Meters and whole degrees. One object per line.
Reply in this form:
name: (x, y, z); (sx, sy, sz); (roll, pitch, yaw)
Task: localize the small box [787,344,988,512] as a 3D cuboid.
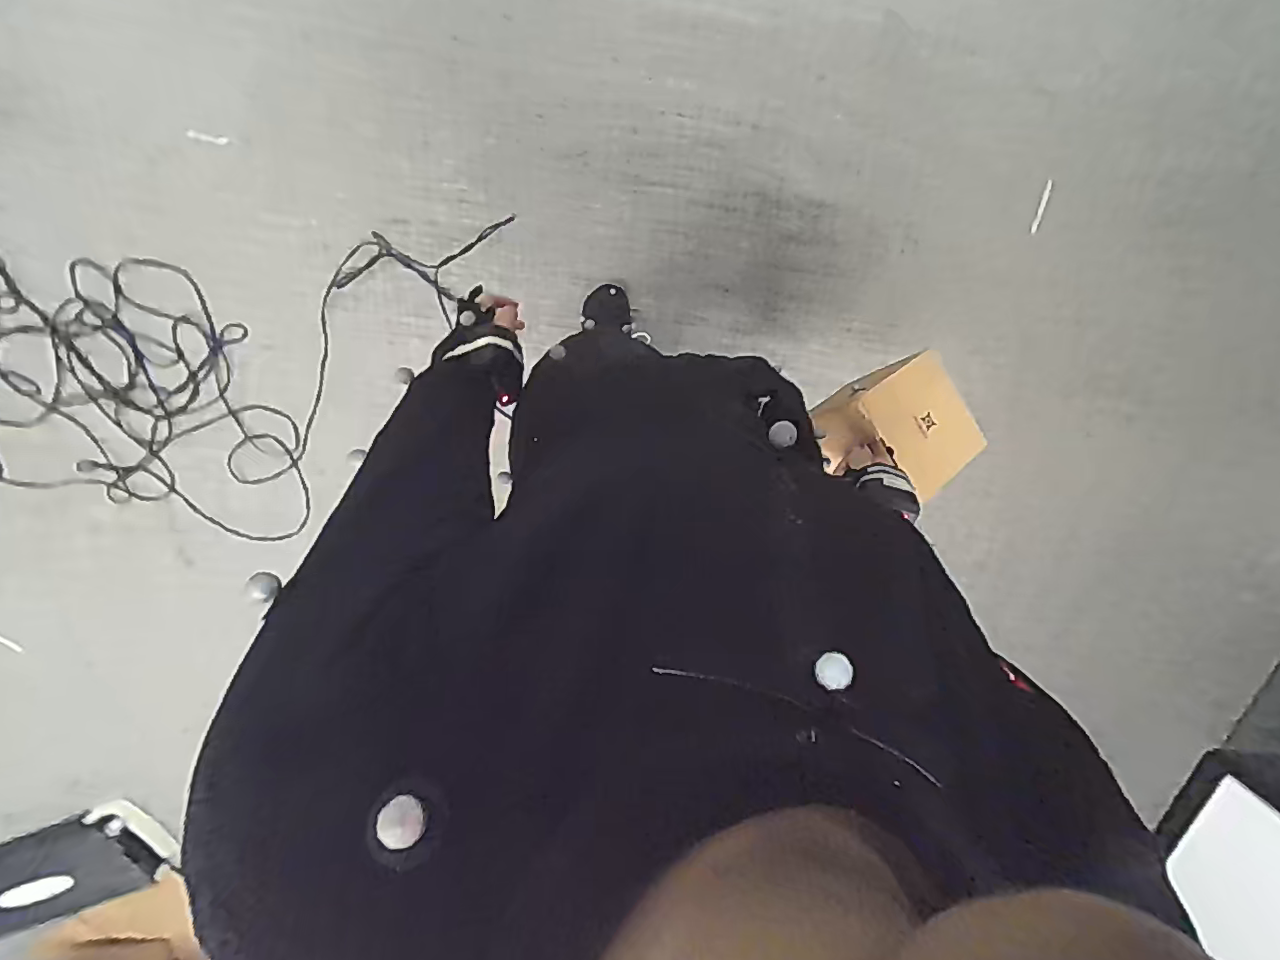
small box: (0.354, -0.068, 0.795); (0.179, 0.176, 0.168); (-33, 94, -23)
